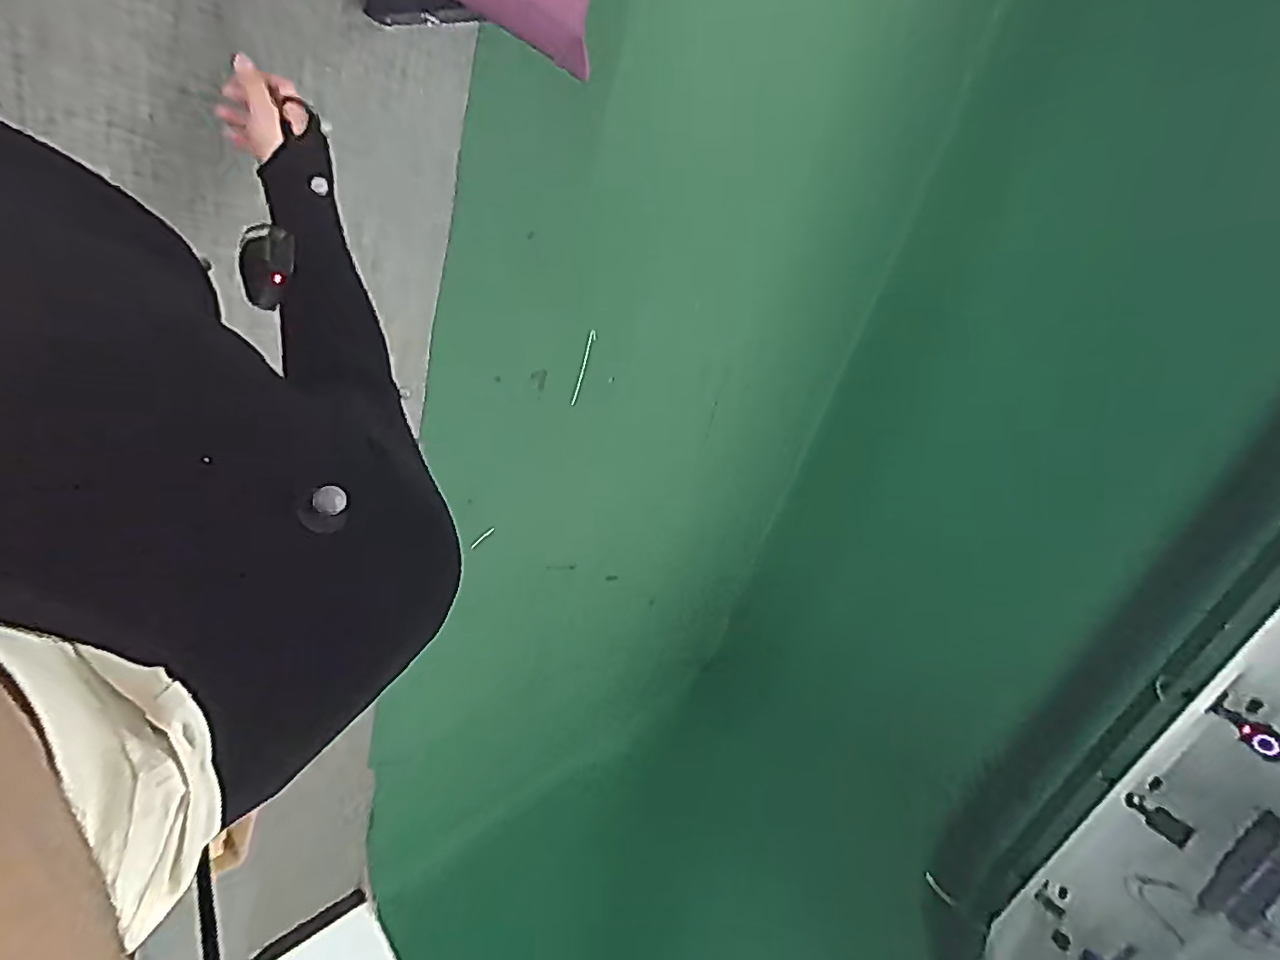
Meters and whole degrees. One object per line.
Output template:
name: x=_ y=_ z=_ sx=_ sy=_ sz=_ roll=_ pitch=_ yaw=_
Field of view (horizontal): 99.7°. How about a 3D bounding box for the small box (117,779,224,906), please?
small box: x=-1.202 y=0.914 z=1.384 sx=0.179 sy=0.176 sz=0.168 roll=-3 pitch=120 yaw=-51
